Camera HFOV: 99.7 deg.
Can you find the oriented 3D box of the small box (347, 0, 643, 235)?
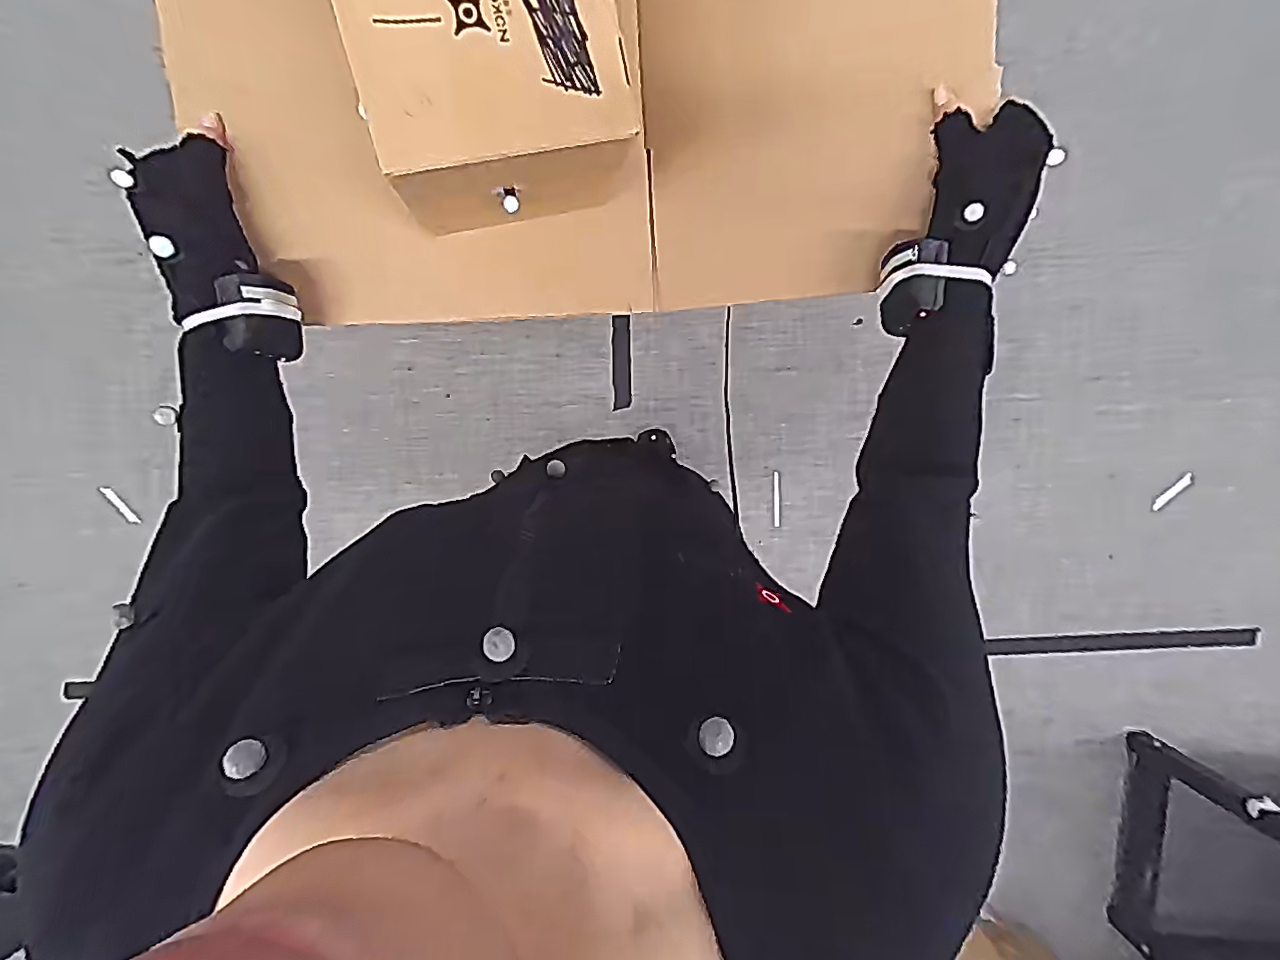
[{"bbox_3d":[-0.112,-0.312,0.431,0.179,0.176,0.168,-14,103,-8],"label":"small box"}]
